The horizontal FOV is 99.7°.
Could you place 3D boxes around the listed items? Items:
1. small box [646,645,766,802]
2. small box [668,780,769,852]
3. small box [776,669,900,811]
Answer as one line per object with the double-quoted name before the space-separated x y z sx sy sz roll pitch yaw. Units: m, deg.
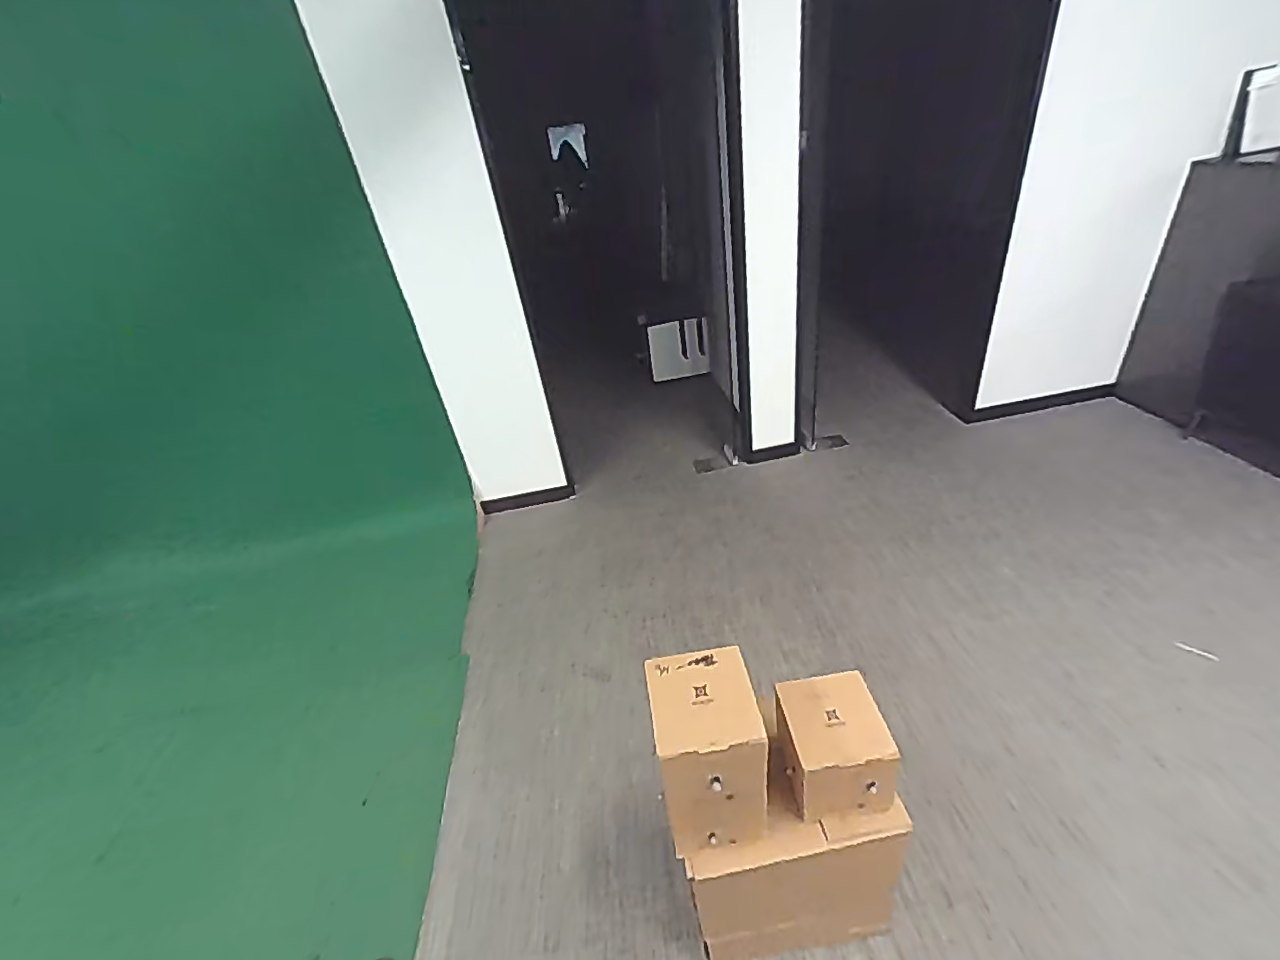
"small box" 0.107 0.407 0.895 0.168 0.176 0.179 -9 35 -1
"small box" 0.129 0.539 0.990 0.168 0.176 0.179 -10 34 -2
"small box" 0.360 0.486 1.004 0.168 0.176 0.179 -10 32 2
